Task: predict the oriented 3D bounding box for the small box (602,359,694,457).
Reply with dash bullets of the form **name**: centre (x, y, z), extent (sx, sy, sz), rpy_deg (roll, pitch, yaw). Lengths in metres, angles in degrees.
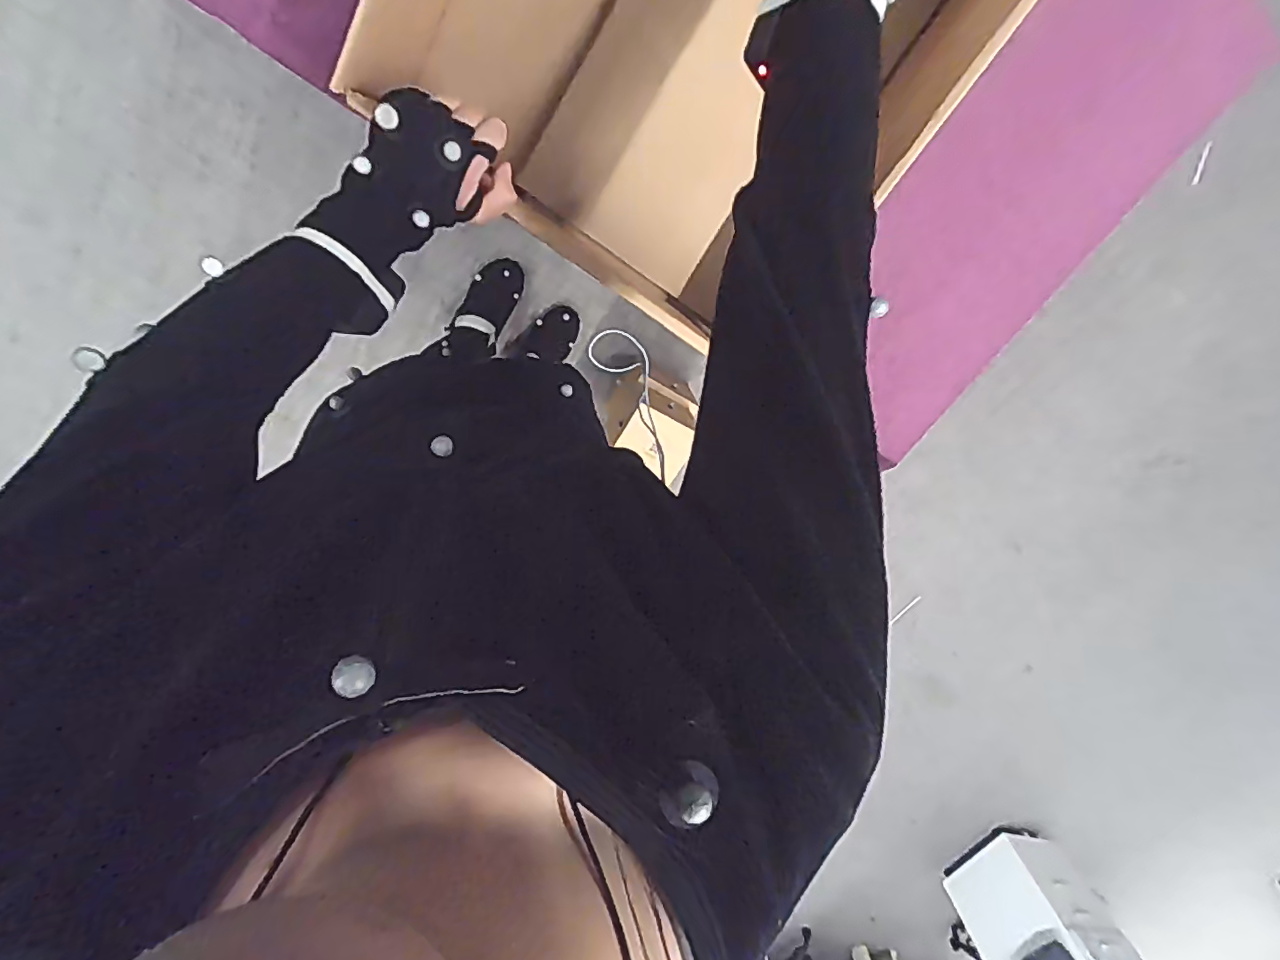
- **small box**: centre (0.015, -0.195, 1.420), extent (0.179, 0.176, 0.168), rpy_deg (28, 112, -19)
